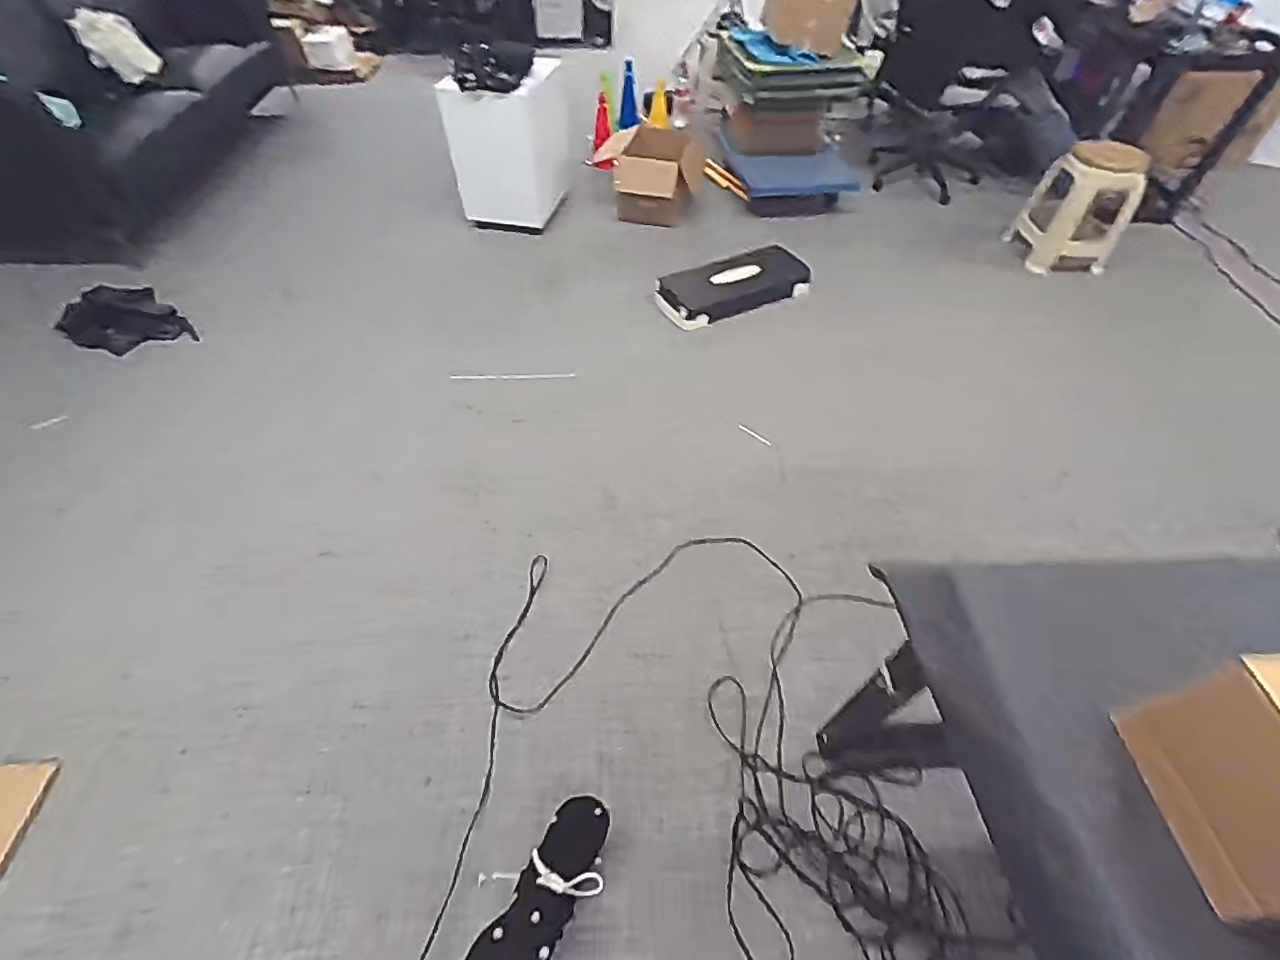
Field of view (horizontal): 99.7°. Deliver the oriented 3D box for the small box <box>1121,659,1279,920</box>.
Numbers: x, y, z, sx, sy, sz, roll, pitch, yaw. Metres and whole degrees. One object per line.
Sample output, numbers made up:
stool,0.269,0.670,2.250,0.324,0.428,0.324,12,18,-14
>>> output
small box,0.595,0.272,0.474,0.168,0.176,0.179,-1,52,-2
